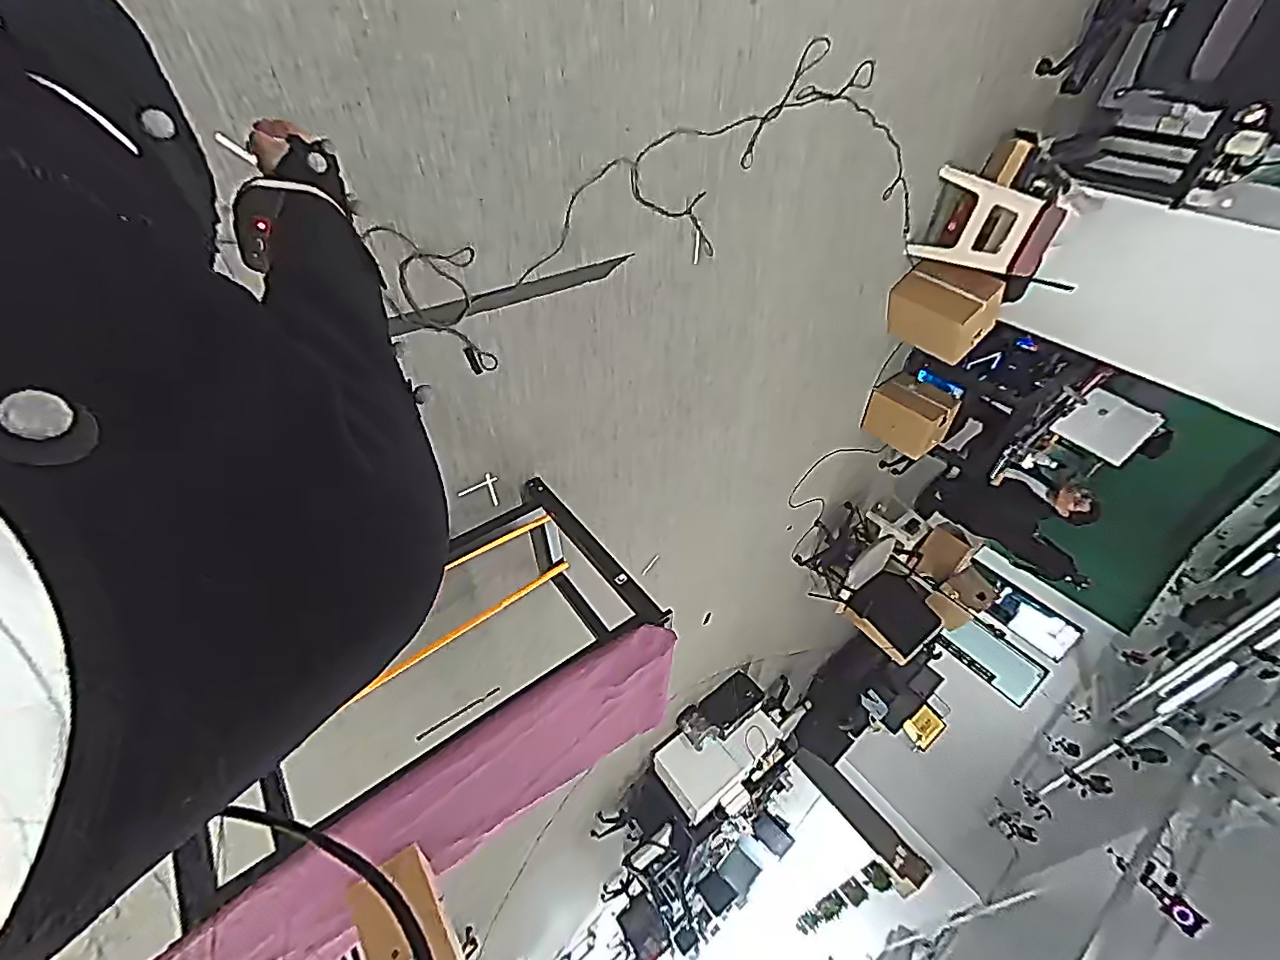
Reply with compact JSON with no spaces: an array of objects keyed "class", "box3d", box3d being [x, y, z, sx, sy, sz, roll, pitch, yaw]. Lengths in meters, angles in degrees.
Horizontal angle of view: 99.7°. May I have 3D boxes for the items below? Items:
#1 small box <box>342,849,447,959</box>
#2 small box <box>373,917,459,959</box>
[{"class":"small box","box3d":[-0.587,1.033,1.297,0.168,0.176,0.179,-25,138,-30]},{"class":"small box","box3d":[-0.488,1.124,1.201,0.168,0.176,0.179,-26,139,-30]}]
